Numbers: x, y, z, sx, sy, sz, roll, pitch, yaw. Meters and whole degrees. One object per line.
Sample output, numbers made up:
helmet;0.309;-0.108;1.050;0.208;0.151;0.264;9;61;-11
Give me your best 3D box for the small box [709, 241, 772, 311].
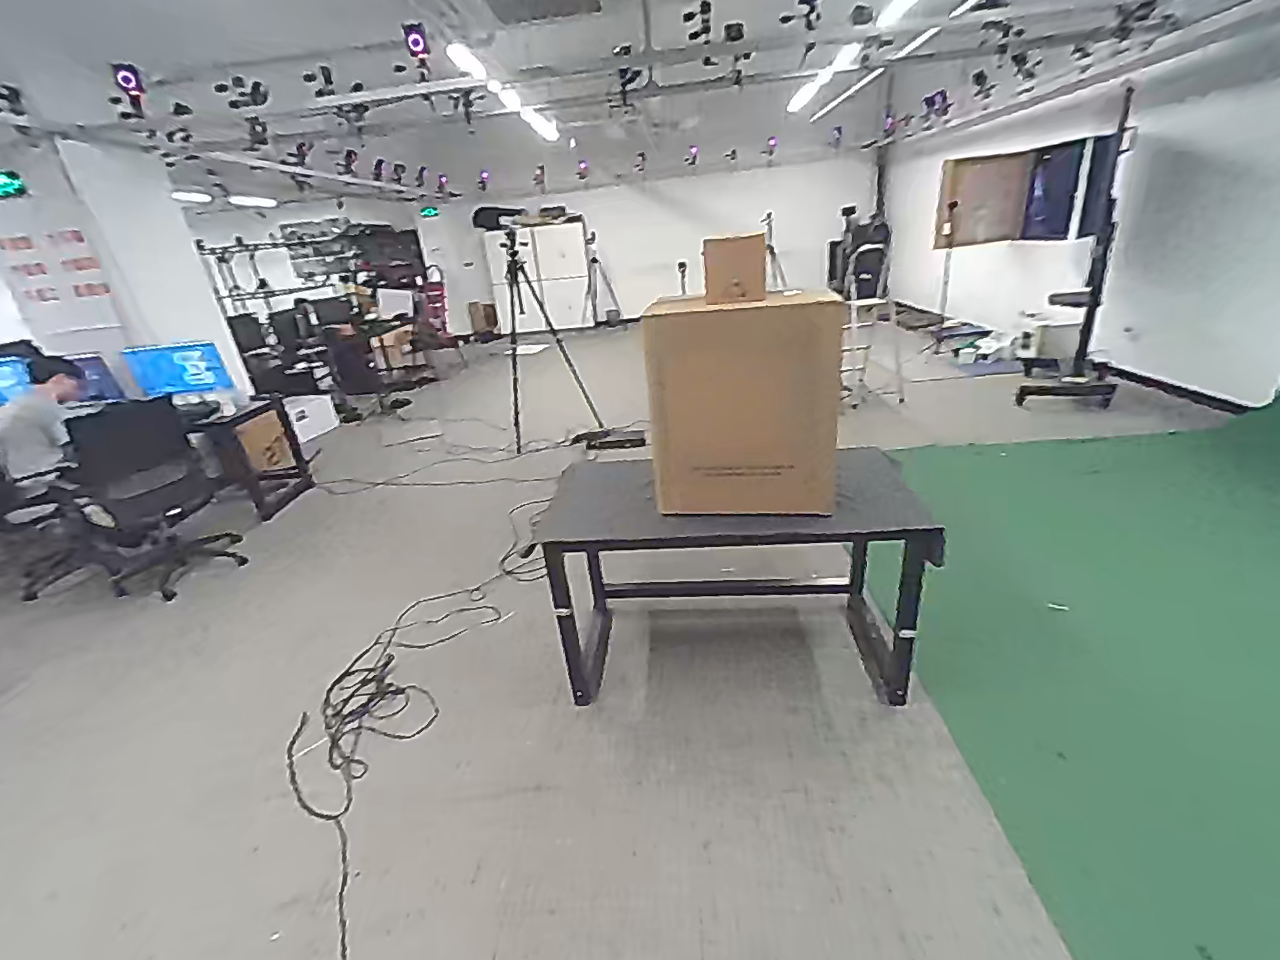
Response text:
small box;0.286;-0.577;1.530;0.168;0.176;0.179;0;26;13
